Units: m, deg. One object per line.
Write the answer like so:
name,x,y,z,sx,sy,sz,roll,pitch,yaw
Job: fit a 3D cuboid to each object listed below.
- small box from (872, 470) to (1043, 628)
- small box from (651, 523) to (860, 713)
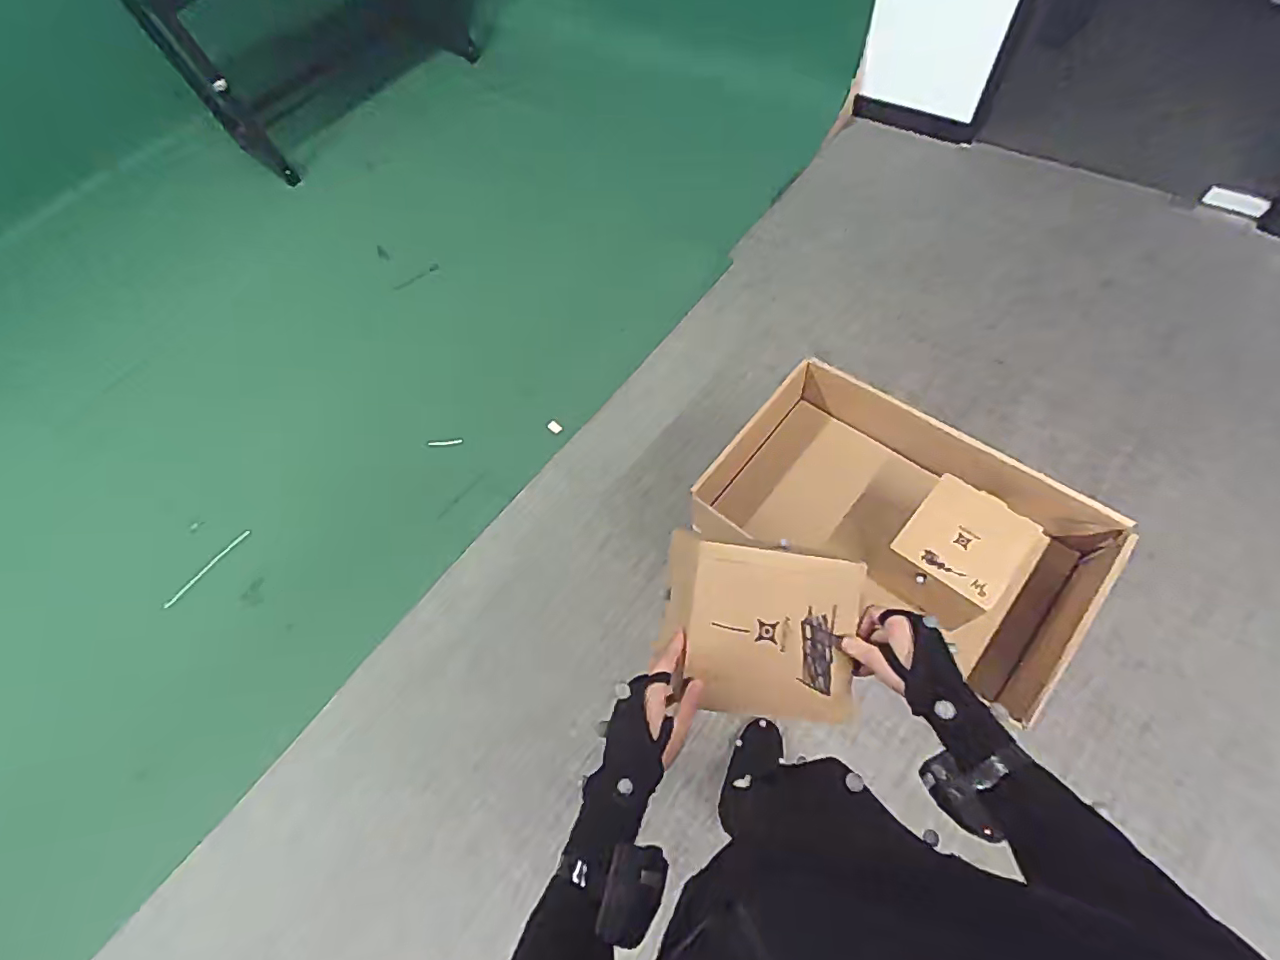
small box,0.526,0.122,0.924,0.168,0.176,0.179,37,74,25
small box,0.117,0.142,0.612,0.179,0.176,0.168,8,87,-5
